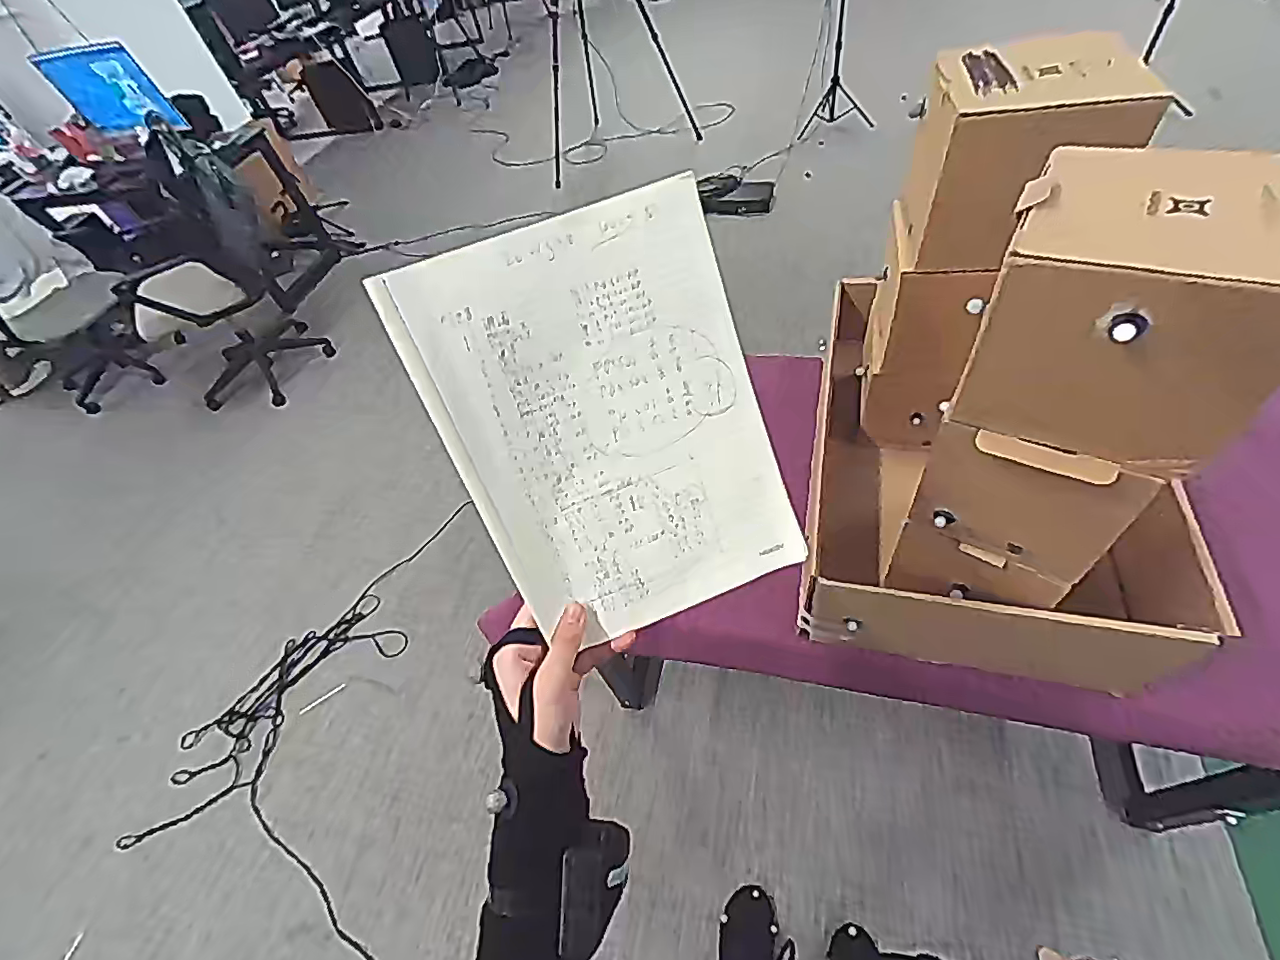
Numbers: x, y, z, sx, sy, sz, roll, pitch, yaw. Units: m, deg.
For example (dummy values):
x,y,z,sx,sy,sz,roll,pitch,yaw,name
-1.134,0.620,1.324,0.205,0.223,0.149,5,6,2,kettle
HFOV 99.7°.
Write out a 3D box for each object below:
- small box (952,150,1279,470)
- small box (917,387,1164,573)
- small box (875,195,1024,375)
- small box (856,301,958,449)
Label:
x,y,z,sx,sy,sz,roll,pitch,yaw,name
0.375,-0.133,0.426,0.179,0.176,0.168,22,60,28,small box
0.404,-0.036,0.553,0.168,0.176,0.179,24,60,29,small box
0.420,-0.256,0.730,0.179,0.176,0.168,4,55,15,small box
0.444,-0.163,0.860,0.168,0.176,0.179,6,56,17,small box
